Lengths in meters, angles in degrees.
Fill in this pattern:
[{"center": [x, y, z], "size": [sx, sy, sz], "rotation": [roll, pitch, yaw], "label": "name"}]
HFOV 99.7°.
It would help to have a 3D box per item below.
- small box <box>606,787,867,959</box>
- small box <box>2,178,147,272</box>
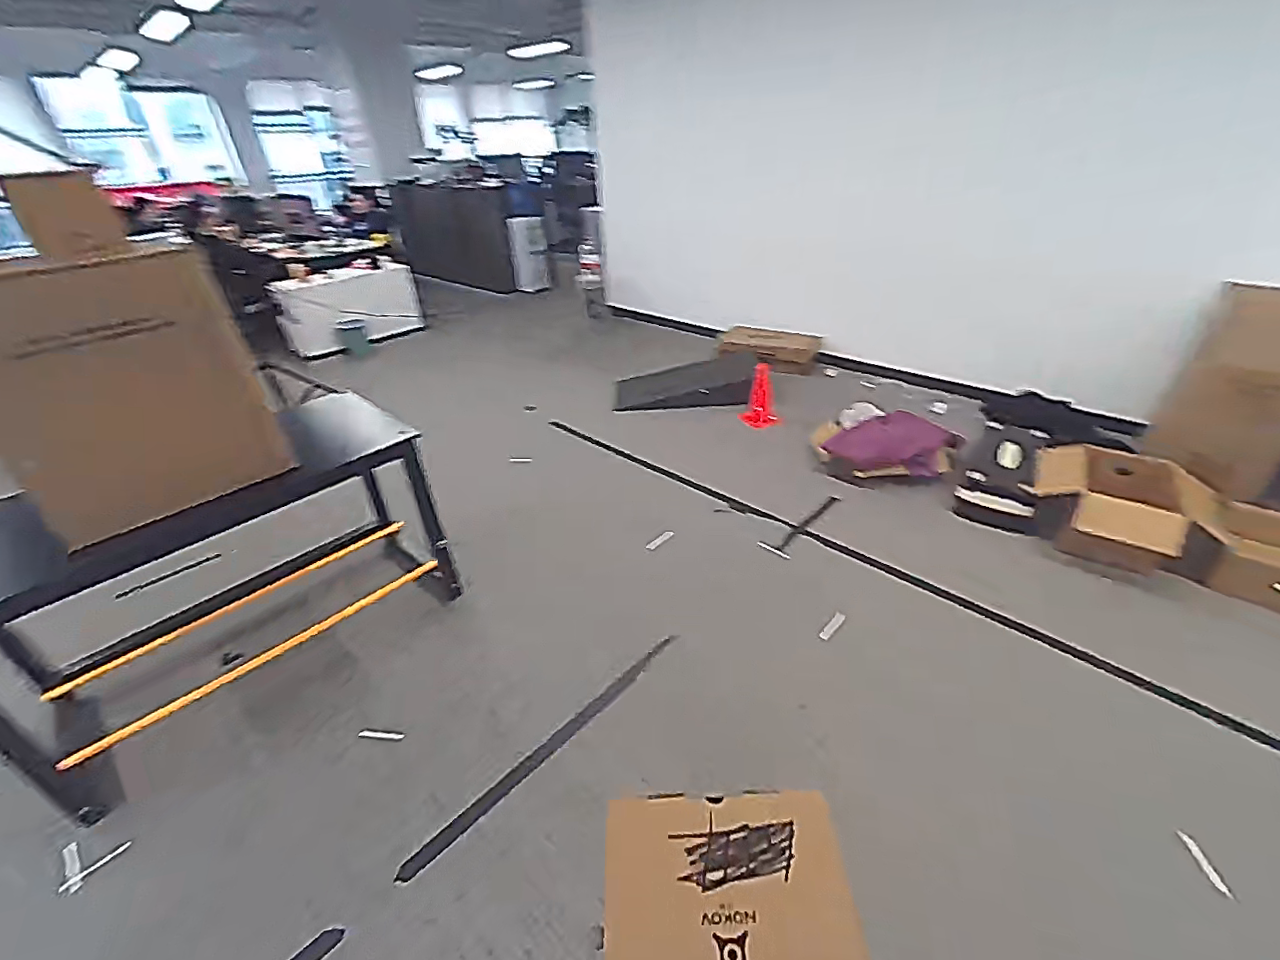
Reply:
[{"center": [0.062, 0.357, 0.394], "size": [0.168, 0.176, 0.179], "rotation": [-5, 36, -1], "label": "small box"}, {"center": [-1.260, -0.573, 1.210], "size": [0.179, 0.176, 0.168], "rotation": [25, 43, 36], "label": "small box"}]
